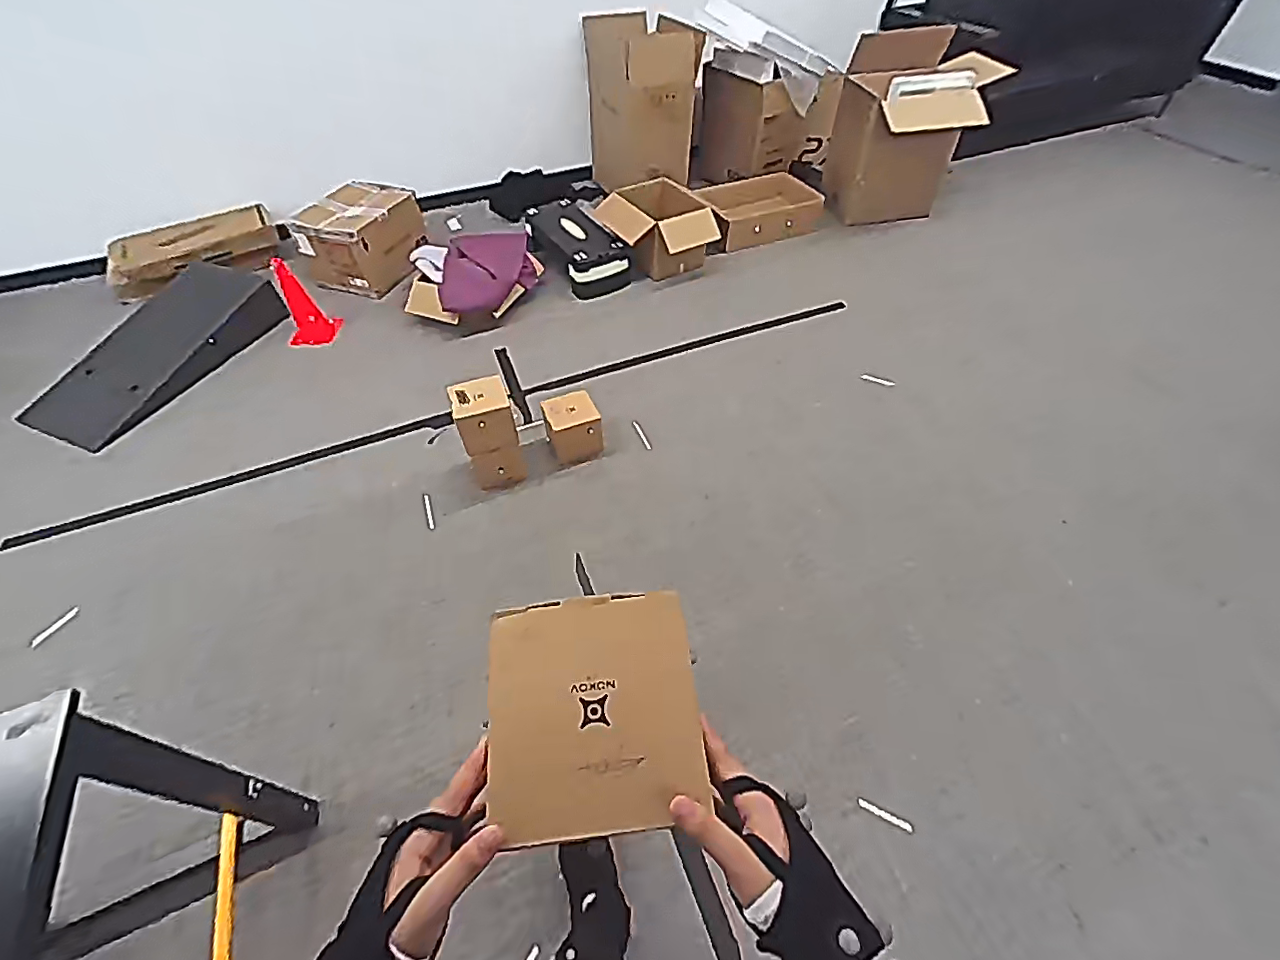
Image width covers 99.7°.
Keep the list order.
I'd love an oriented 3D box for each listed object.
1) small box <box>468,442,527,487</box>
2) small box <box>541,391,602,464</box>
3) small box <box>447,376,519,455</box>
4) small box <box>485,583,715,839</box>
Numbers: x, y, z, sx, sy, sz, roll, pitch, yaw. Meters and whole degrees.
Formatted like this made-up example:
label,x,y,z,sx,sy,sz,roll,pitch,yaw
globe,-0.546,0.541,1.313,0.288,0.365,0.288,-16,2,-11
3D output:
label,x,y,z,sx,sy,sz,roll,pitch,yaw
small box,-0.503,-0.094,1.884,0.168,0.176,0.179,-17,52,-12
small box,-0.243,-0.188,1.956,0.179,0.176,0.168,-19,52,-14
small box,-0.508,-0.206,1.761,0.179,0.176,0.168,-17,51,-13
small box,-0.037,0.210,0.491,0.168,0.176,0.179,-5,60,-4
